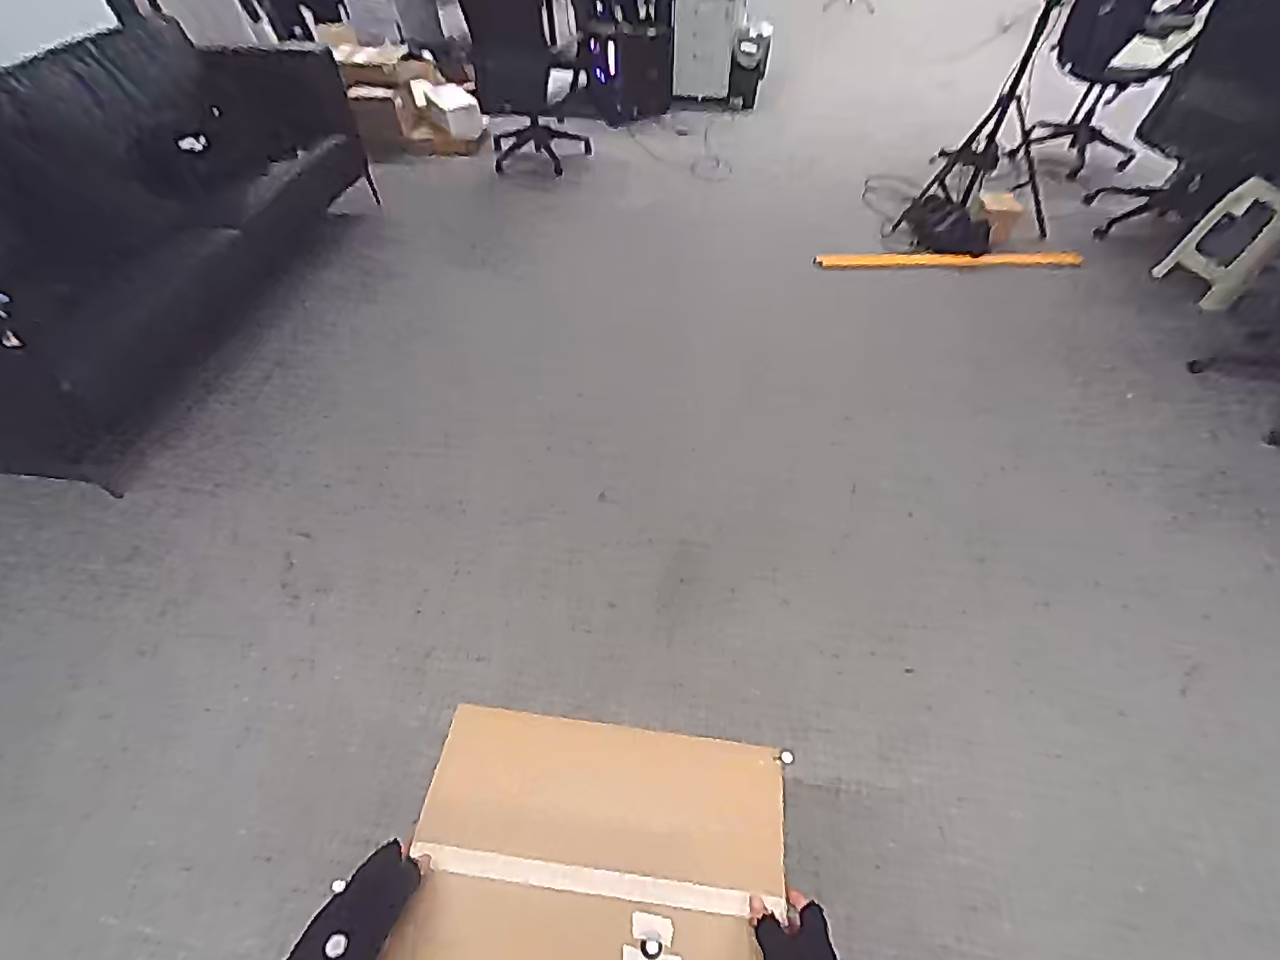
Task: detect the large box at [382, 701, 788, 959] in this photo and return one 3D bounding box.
[{"bbox_3d":[-0.050,0.511,0.690,0.408,0.320,0.320,7,51,3],"label":"large box"}]
